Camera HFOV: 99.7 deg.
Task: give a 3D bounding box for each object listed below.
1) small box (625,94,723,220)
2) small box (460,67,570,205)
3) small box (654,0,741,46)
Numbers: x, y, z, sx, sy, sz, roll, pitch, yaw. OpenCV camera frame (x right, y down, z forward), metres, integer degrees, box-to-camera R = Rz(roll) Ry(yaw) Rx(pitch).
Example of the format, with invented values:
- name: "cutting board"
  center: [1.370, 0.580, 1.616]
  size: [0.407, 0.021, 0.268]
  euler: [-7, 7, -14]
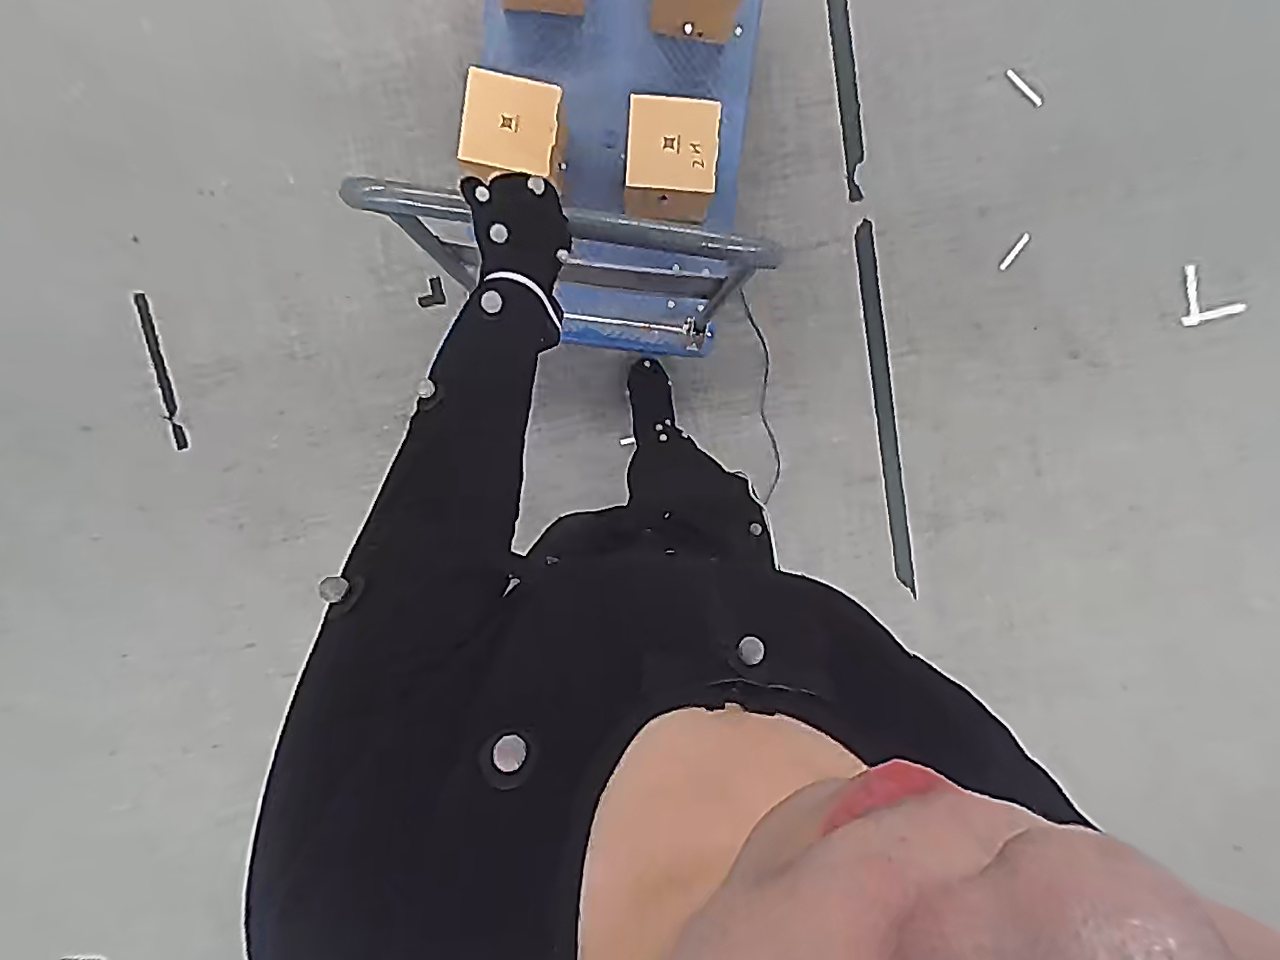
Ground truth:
- name: "small box"
  center: [0.062, -0.650, 1.108]
  size: [0.179, 0.176, 0.168]
  euler: [4, 98, -2]
- name: "small box"
  center: [-0.246, -0.680, 1.093]
  size: [0.179, 0.176, 0.168]
  euler: [10, 97, -5]
- name: "small box"
  center: [0.122, -1.010, 1.057]
  size: [0.168, 0.176, 0.179]
  euler: [8, 99, -3]
